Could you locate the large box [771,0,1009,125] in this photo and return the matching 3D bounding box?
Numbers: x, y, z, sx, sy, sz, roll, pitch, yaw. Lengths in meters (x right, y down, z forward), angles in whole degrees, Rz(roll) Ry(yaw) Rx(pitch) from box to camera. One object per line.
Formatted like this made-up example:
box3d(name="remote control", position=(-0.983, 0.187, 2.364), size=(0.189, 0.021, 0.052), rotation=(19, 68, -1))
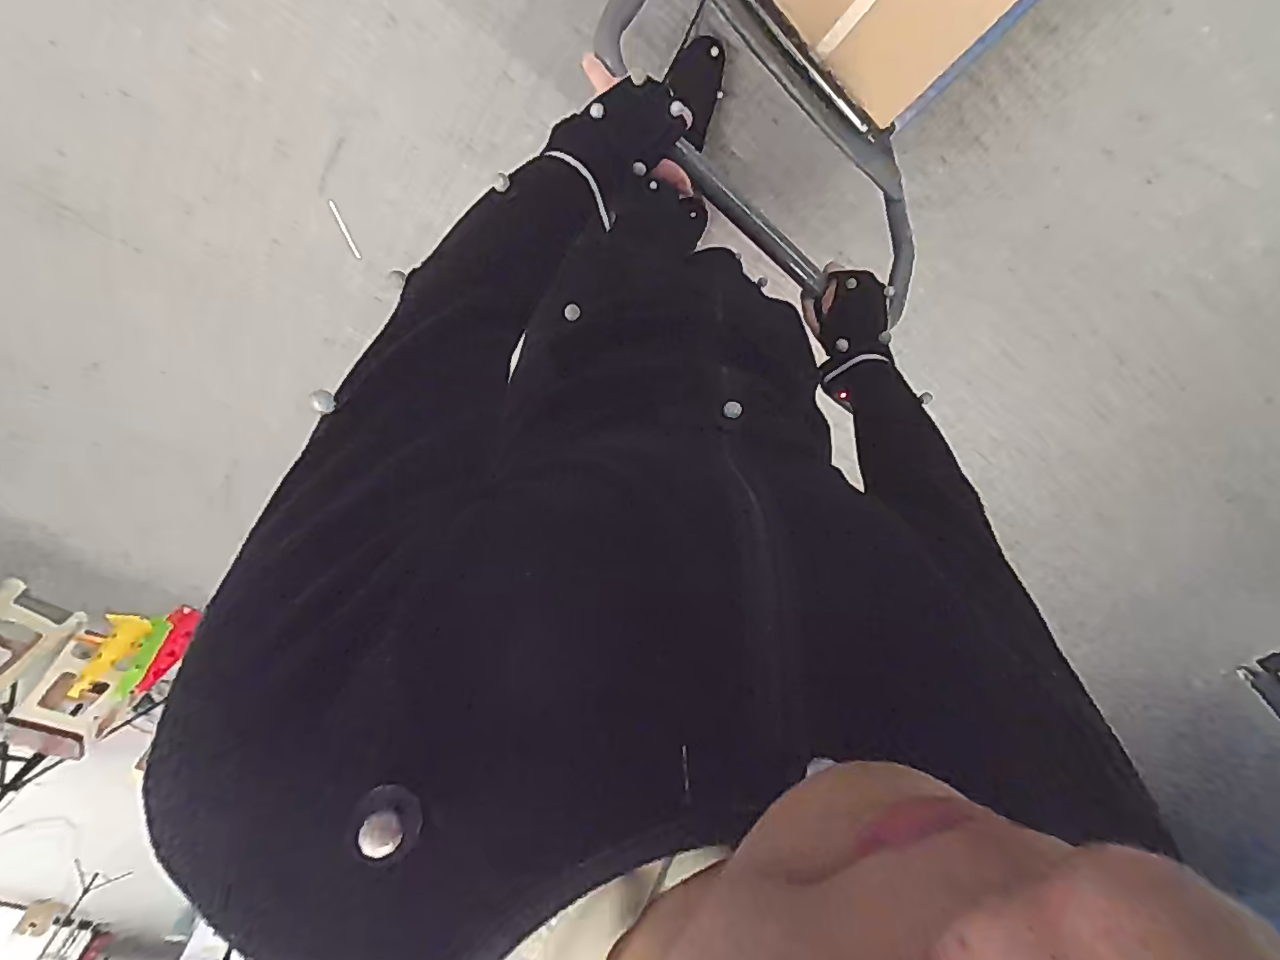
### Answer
box3d(name="large box", position=(0.400, -0.823, 0.754), size=(0.320, 0.320, 0.408), rotation=(32, 136, -22))
